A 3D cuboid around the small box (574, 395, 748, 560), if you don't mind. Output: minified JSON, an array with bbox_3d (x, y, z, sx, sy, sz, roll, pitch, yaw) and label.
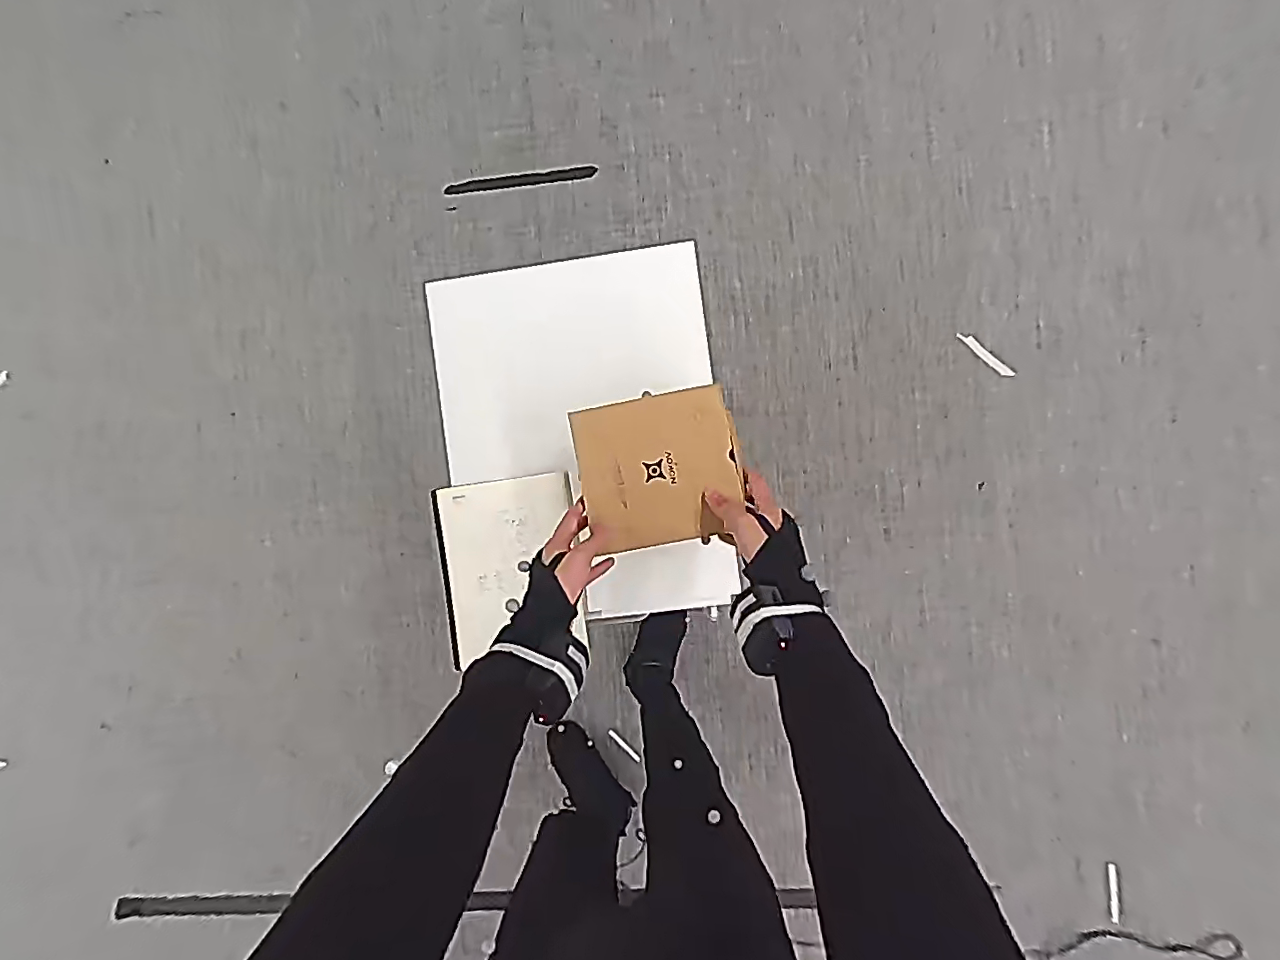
[{"bbox_3d":[0.023,0.000,0.680,0.179,0.176,0.168,-10,87,1],"label":"small box"}]
